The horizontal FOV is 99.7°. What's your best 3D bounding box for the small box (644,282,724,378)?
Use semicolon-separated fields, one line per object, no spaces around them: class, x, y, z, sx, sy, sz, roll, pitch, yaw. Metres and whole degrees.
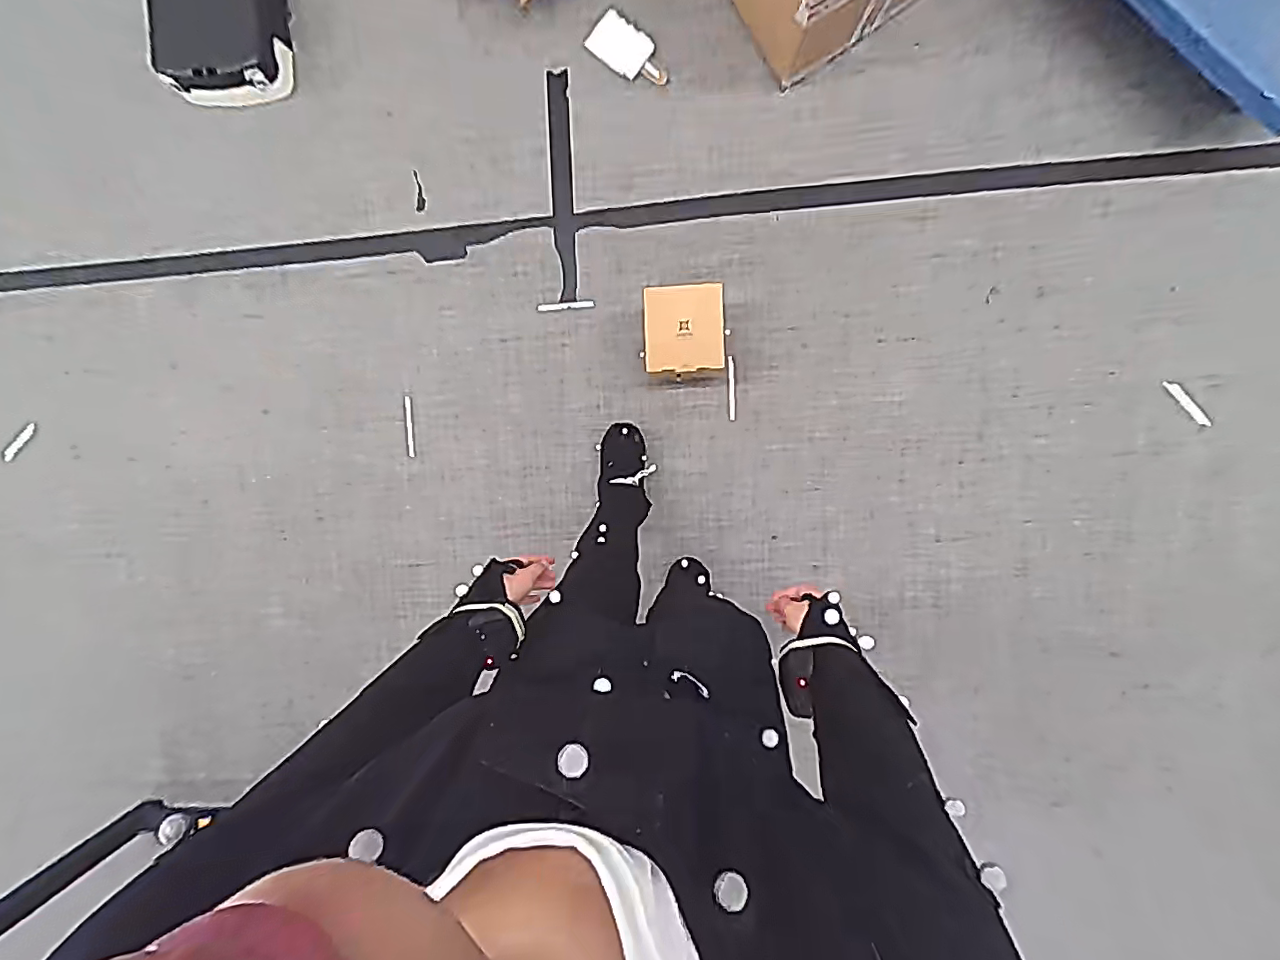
small box;0.095;-0.324;1.197;0.168;0.176;0.179;-2;96;4
